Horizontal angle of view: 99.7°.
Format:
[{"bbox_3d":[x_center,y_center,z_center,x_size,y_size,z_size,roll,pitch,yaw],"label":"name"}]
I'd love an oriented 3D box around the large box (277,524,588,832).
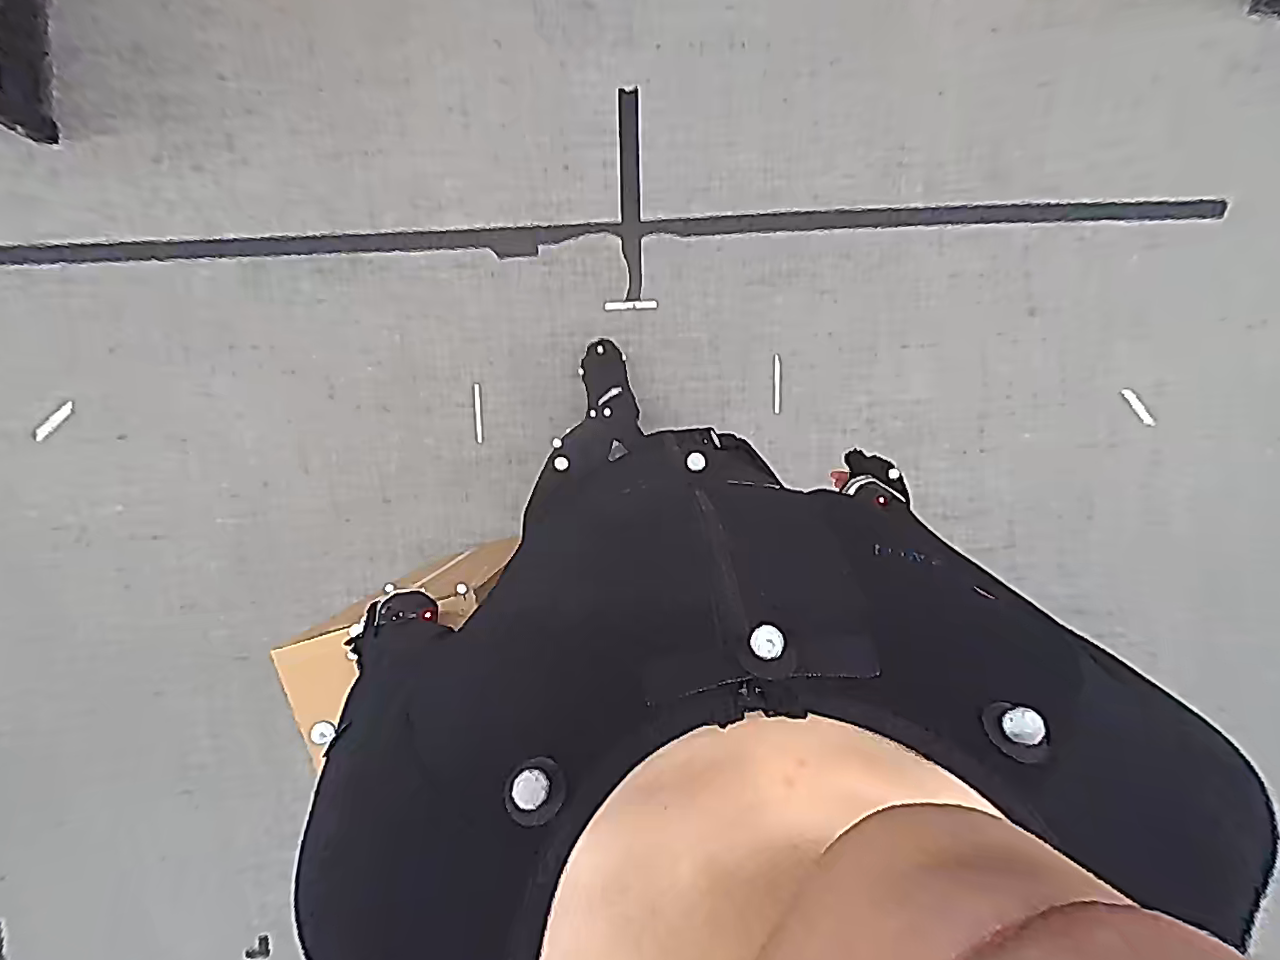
[{"bbox_3d":[-0.305,0.302,0.945,0.320,0.408,0.320,-19,96,7],"label":"large box"}]
